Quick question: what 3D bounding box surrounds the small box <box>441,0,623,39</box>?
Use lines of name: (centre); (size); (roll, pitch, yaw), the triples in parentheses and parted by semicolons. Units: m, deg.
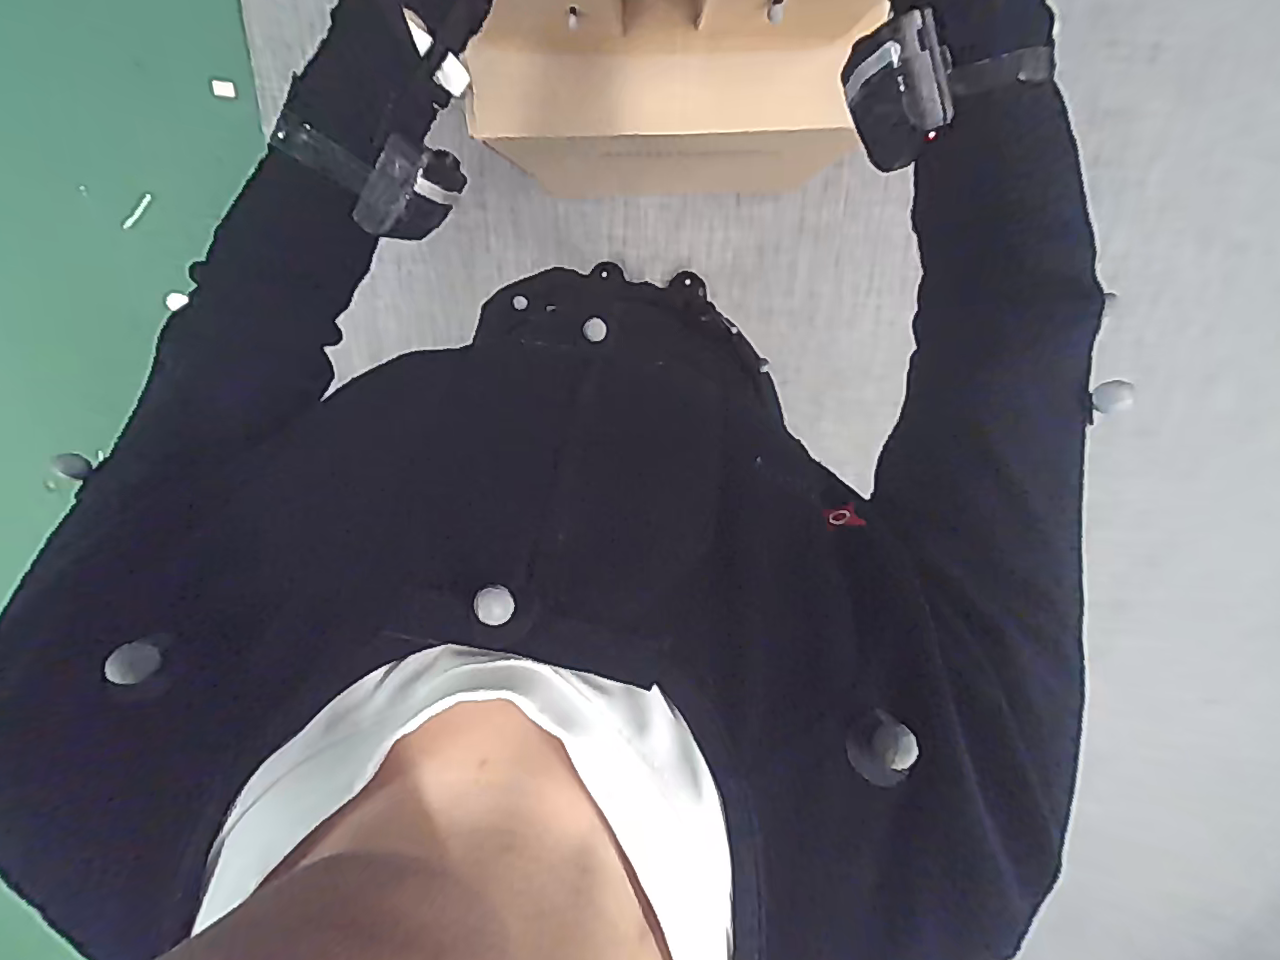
small box: (-0.107, -0.556, 0.523); (0.179, 0.176, 0.168); (0, 115, 3)

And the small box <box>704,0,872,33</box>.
small box: (0.155, -0.552, 0.514); (0.179, 0.176, 0.168); (2, 116, 2)
